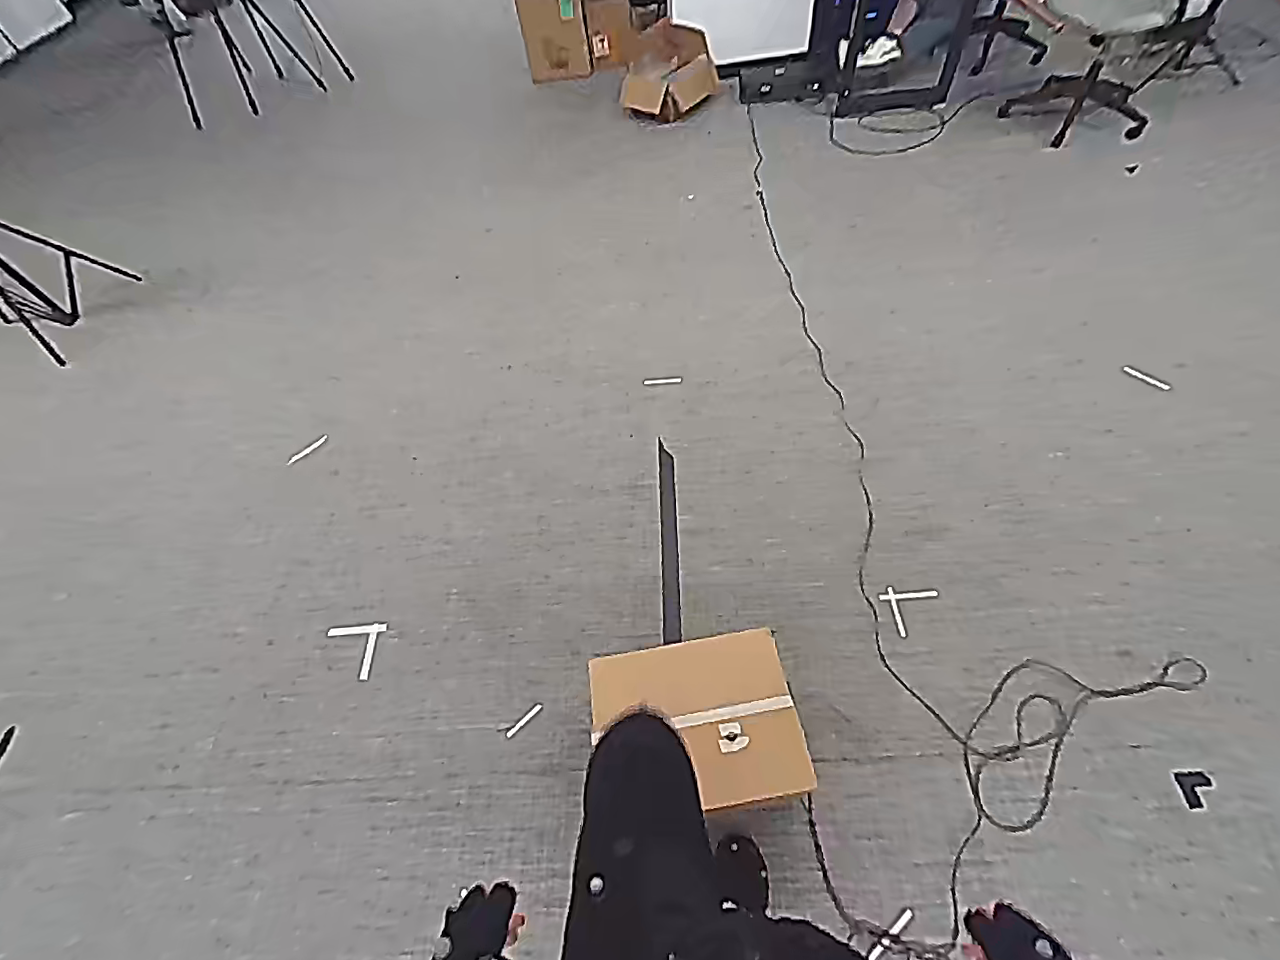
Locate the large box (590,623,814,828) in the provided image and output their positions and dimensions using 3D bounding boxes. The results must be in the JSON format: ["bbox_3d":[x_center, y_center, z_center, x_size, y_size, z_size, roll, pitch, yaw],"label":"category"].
[{"bbox_3d":[0.122,0.557,1.211,0.408,0.320,0.320,-10,55,-1],"label":"large box"}]
